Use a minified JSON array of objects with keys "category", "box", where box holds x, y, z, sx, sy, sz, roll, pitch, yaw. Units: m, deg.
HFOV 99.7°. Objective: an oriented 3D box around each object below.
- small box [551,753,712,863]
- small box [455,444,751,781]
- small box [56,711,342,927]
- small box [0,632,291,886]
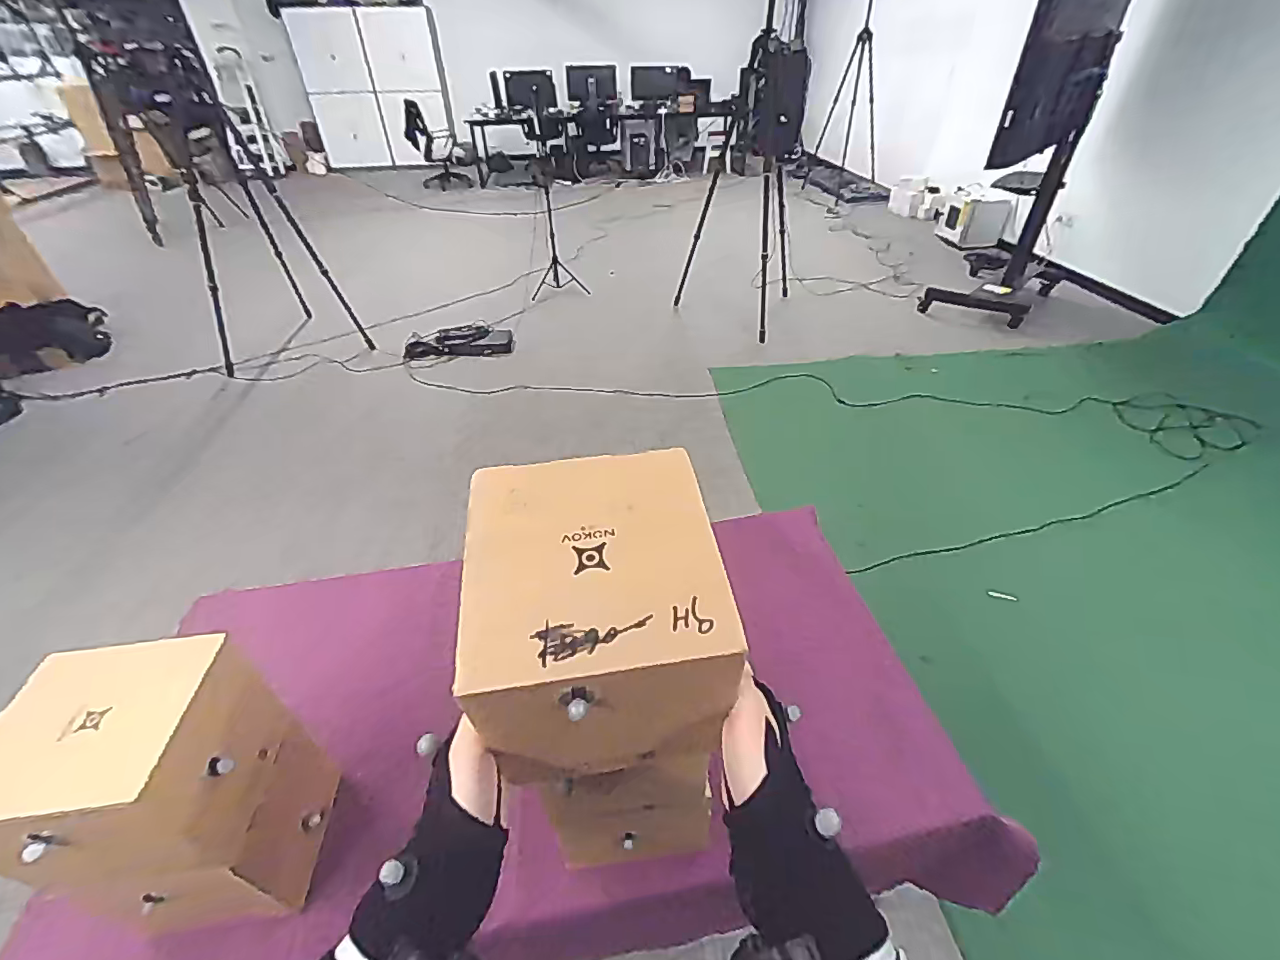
[{"category":"small box","box":[-0.015,0.358,0.688,0.179,0.176,0.168,-7,40,-4]},{"category":"small box","box":[-0.029,0.098,0.408,0.168,0.176,0.179,-7,47,-5]},{"category":"small box","box":[-0.498,0.406,0.649,0.179,0.176,0.168,-5,40,-5]},{"category":"small box","box":[-0.497,0.280,0.545,0.179,0.176,0.168,-7,40,-4]}]
